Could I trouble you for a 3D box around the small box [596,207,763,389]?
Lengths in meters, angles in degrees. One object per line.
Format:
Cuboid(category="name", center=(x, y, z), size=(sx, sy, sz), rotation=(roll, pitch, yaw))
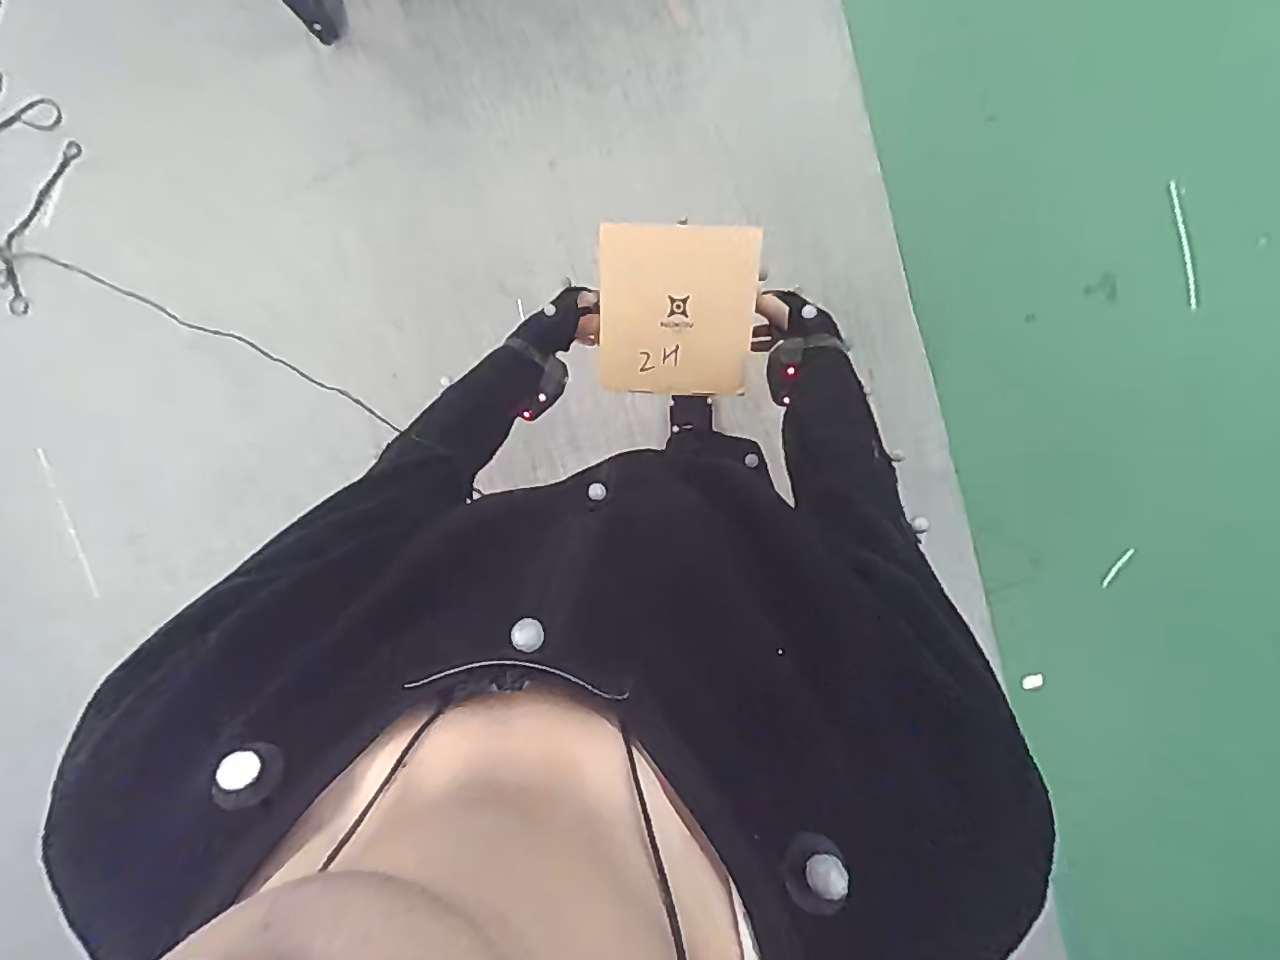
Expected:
Cuboid(category="small box", center=(0.036, -0.215, 0.635), size=(0.168, 0.176, 0.179), rotation=(2, 114, 0))
